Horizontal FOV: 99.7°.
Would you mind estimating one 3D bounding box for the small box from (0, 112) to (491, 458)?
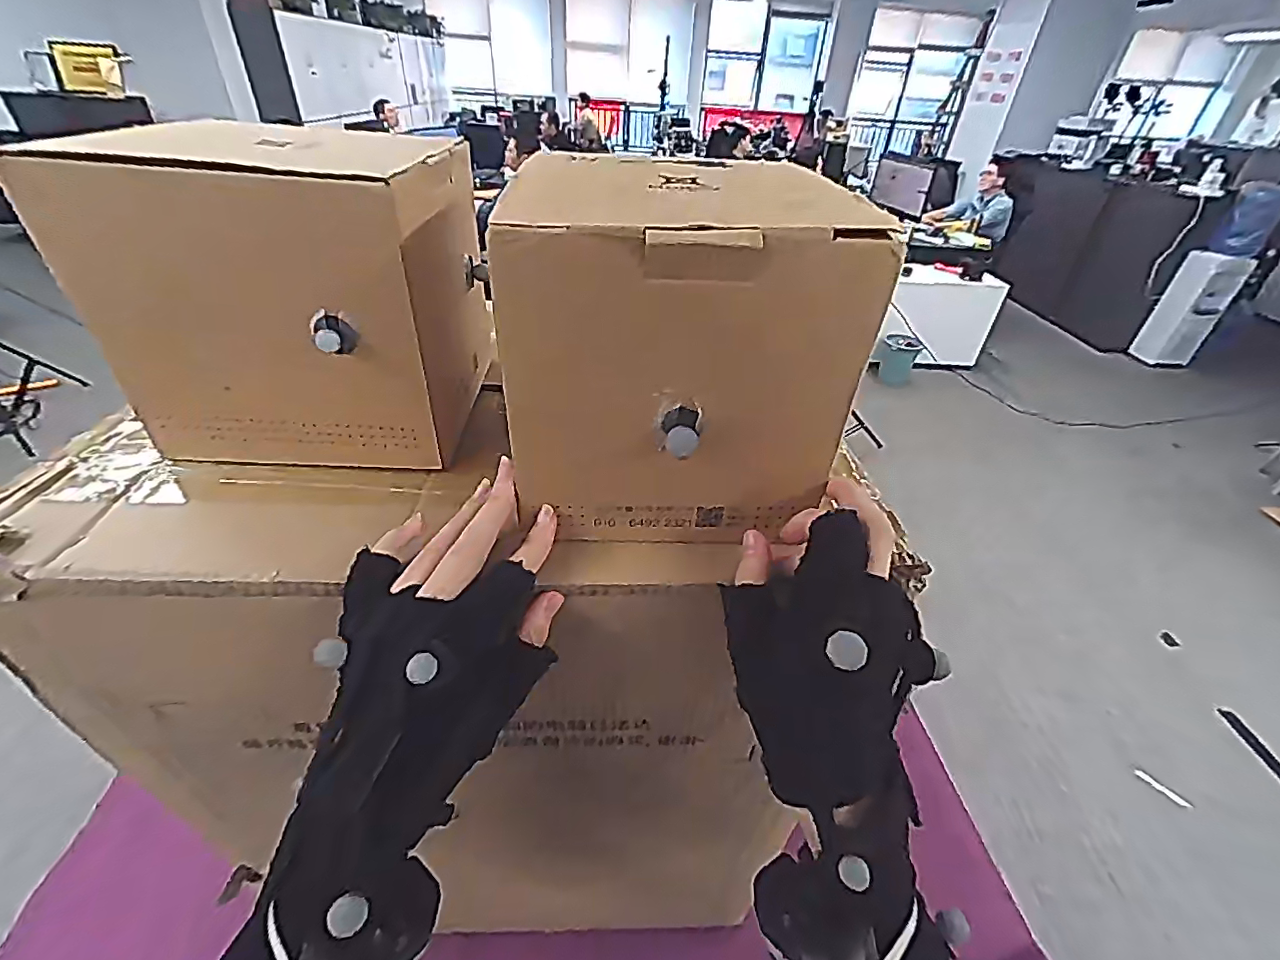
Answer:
[{"bbox_3d":[-0.202,-0.126,0.351,0.179,0.176,0.168,1,36,-4],"label":"small box"}]

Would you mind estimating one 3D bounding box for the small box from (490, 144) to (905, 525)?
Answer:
[{"bbox_3d":[0.020,-0.088,0.321,0.168,0.176,0.179,1,39,-3],"label":"small box"}]
